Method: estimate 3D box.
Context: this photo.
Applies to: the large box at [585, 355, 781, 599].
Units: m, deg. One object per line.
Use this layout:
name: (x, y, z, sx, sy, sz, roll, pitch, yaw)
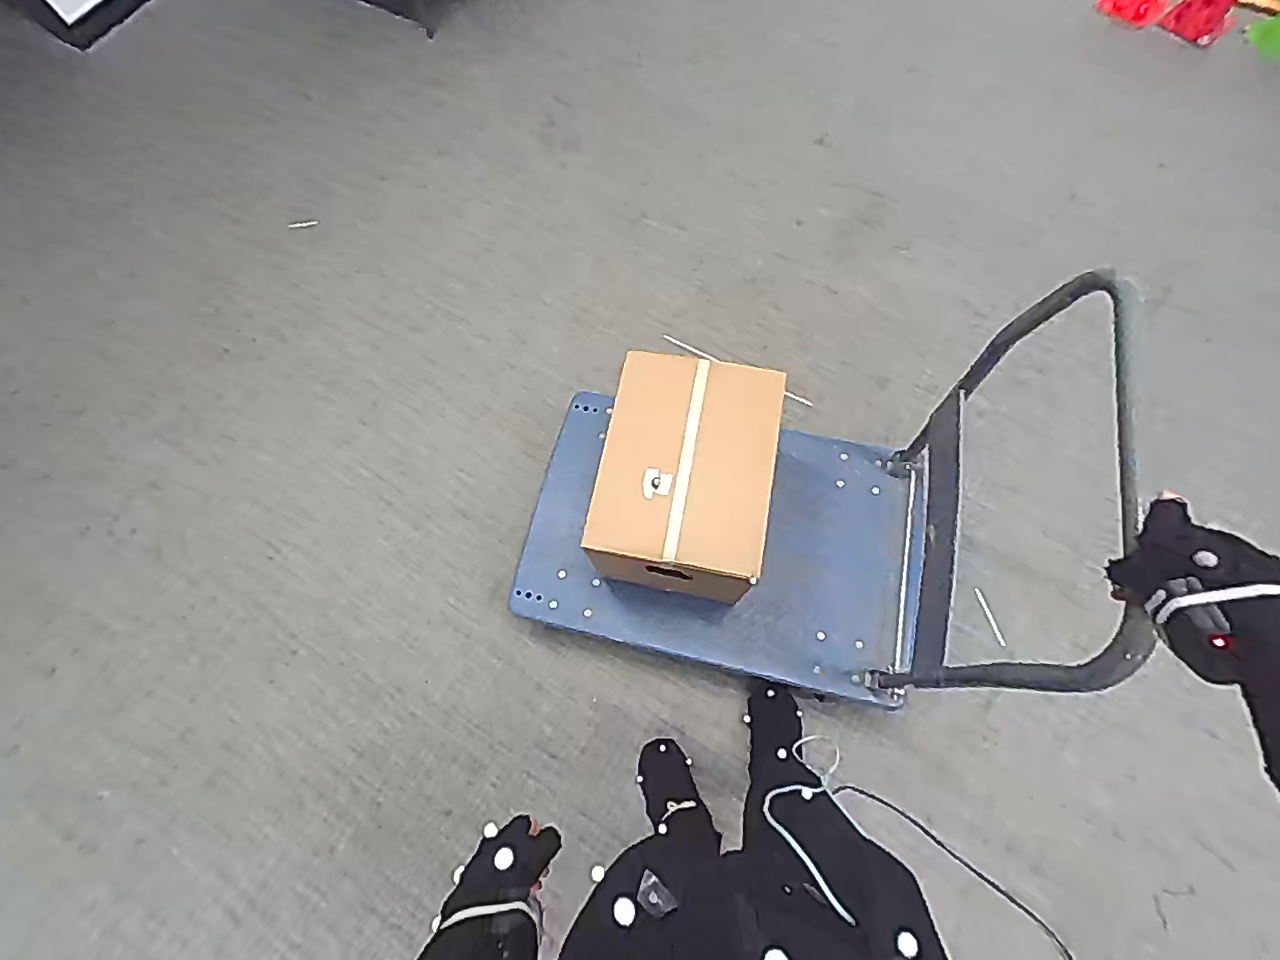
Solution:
large box: (0.094, 0.007, 1.129, 0.320, 0.320, 0.408, 9, 72, 8)
